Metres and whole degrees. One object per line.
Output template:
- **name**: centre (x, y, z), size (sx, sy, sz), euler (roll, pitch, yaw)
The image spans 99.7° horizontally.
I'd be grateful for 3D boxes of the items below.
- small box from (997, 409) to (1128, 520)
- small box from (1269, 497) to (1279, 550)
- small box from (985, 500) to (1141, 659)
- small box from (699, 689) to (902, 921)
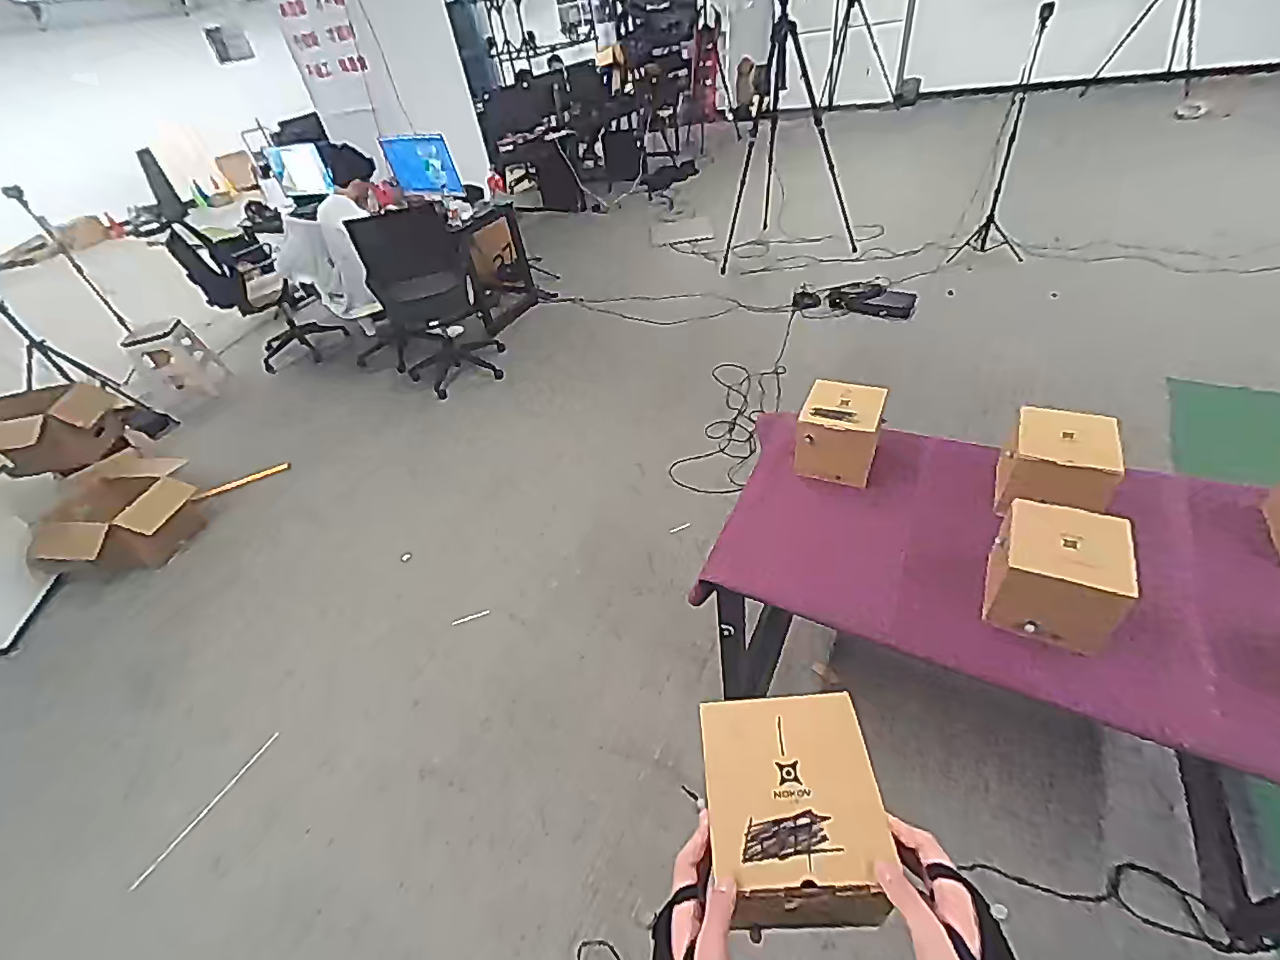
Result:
- **small box**: centre (0.855, -0.018, 1.110), size (0.168, 0.176, 0.179), euler (14, 47, 25)
- **small box**: centre (1.245, 0.070, 0.923), size (0.168, 0.176, 0.179), euler (12, 47, 28)
- **small box**: centre (0.712, 0.168, 0.926), size (0.168, 0.176, 0.179), euler (15, 46, 27)
- **small box**: centre (0.157, 0.349, 0.578), size (0.168, 0.176, 0.179), euler (-6, 41, 6)
